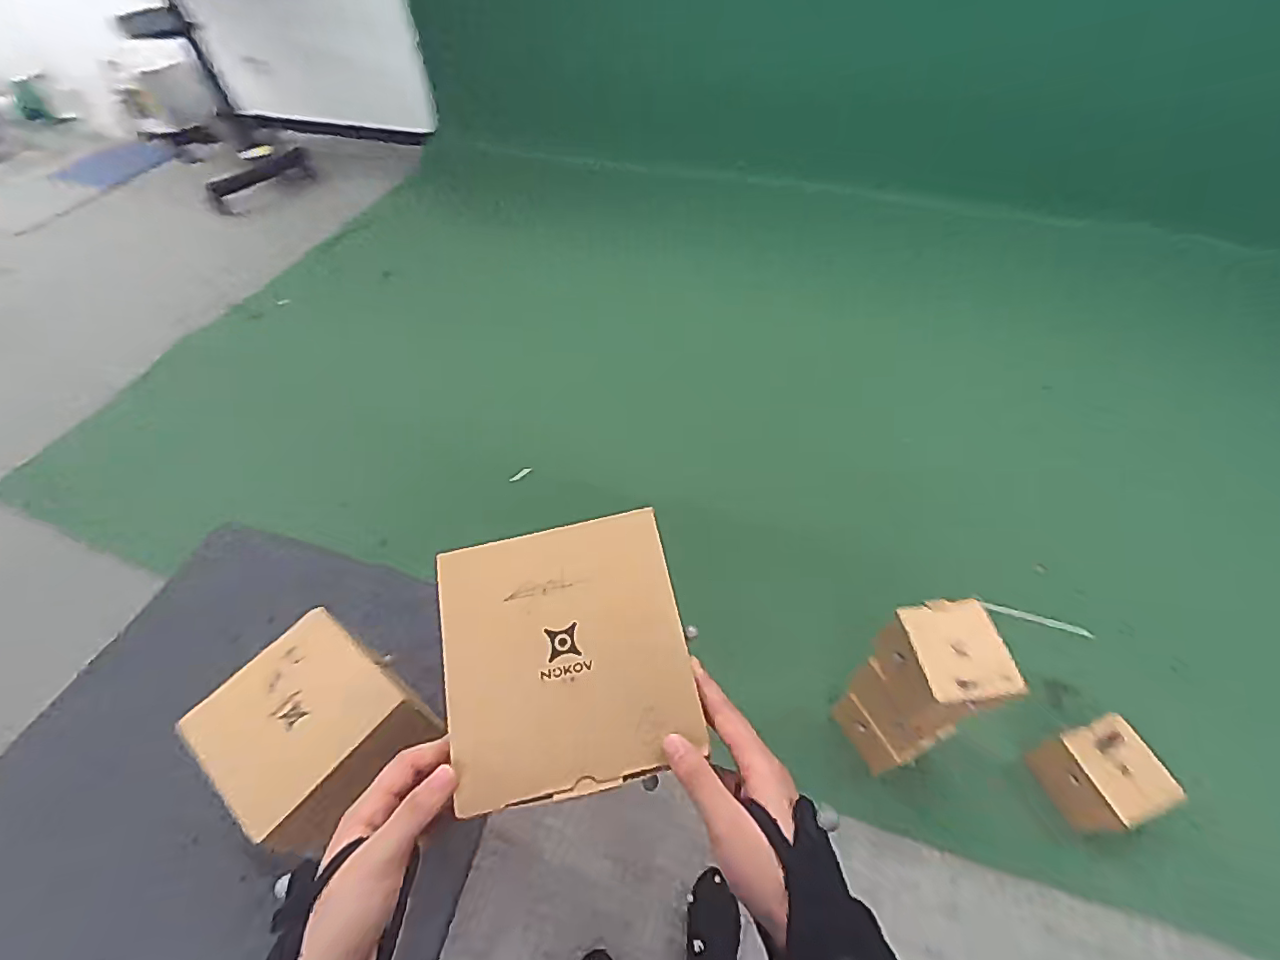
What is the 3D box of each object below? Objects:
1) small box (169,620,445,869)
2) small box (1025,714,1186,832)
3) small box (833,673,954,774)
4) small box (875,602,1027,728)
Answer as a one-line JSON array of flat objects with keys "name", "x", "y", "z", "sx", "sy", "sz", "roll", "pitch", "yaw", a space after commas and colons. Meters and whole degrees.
[{"name": "small box", "x": -0.354, "y": 0.298, "z": 0.608, "sx": 0.179, "sy": 0.176, "sz": 0.168, "roll": 29, "pitch": 58, "yaw": 25}, {"name": "small box", "x": 1.025, "y": 0.659, "z": 1.212, "sx": 0.168, "sy": 0.176, "sz": 0.179, "roll": -17, "pitch": 54, "yaw": -11}, {"name": "small box", "x": 0.594, "y": 0.578, "z": 1.292, "sx": 0.168, "sy": 0.176, "sz": 0.179, "roll": -22, "pitch": 54, "yaw": -15}, {"name": "small box", "x": 0.583, "y": 0.359, "z": 1.046, "sx": 0.168, "sy": 0.176, "sz": 0.179, "roll": -7, "pitch": 52, "yaw": -3}]
